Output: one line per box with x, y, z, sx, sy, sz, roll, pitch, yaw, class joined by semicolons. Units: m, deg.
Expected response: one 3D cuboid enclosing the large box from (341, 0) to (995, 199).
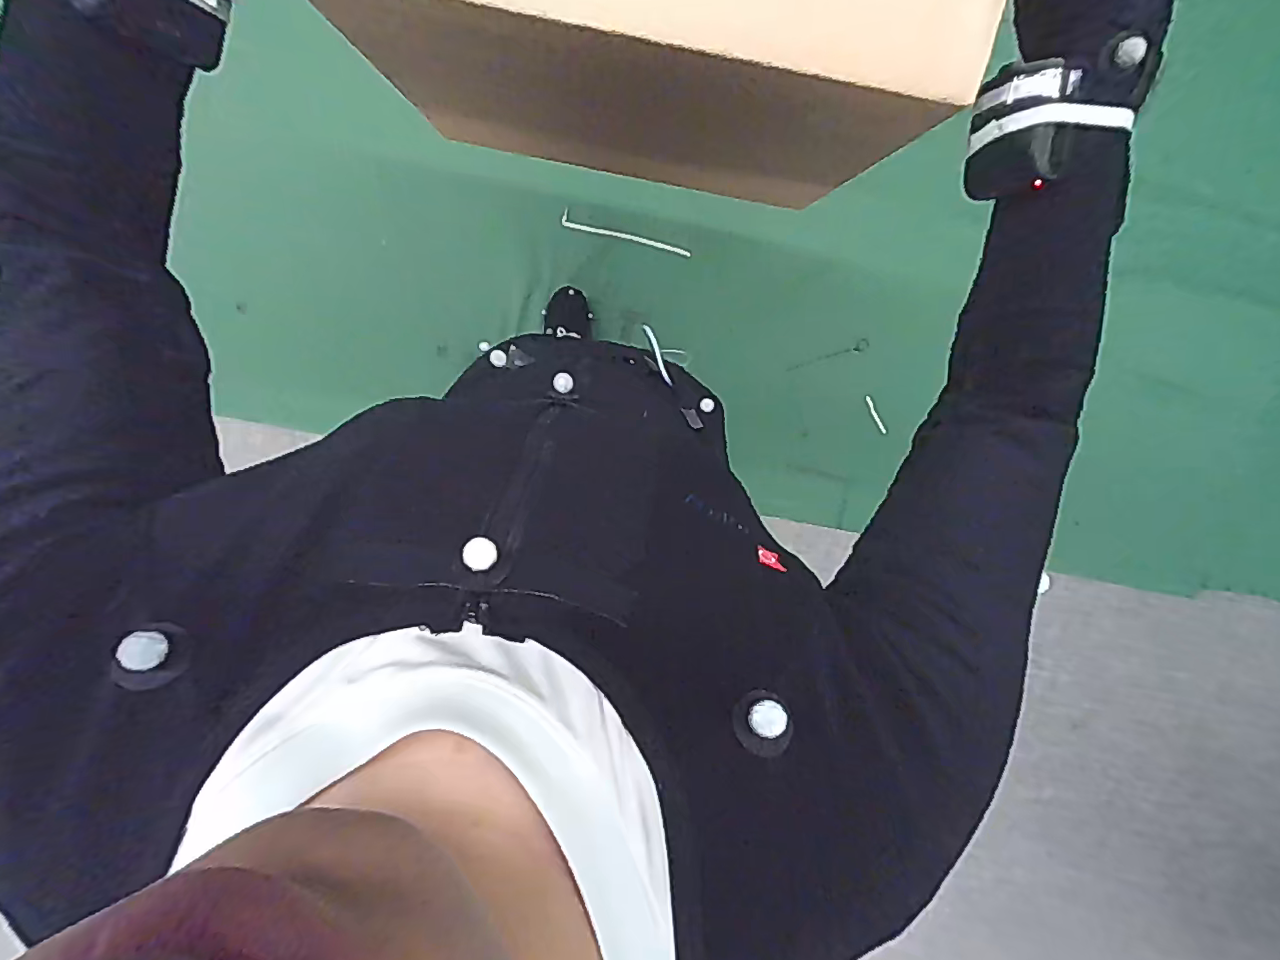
0.019;-0.445;0.414;0.408;0.320;0.320;8;106;-6;large box
